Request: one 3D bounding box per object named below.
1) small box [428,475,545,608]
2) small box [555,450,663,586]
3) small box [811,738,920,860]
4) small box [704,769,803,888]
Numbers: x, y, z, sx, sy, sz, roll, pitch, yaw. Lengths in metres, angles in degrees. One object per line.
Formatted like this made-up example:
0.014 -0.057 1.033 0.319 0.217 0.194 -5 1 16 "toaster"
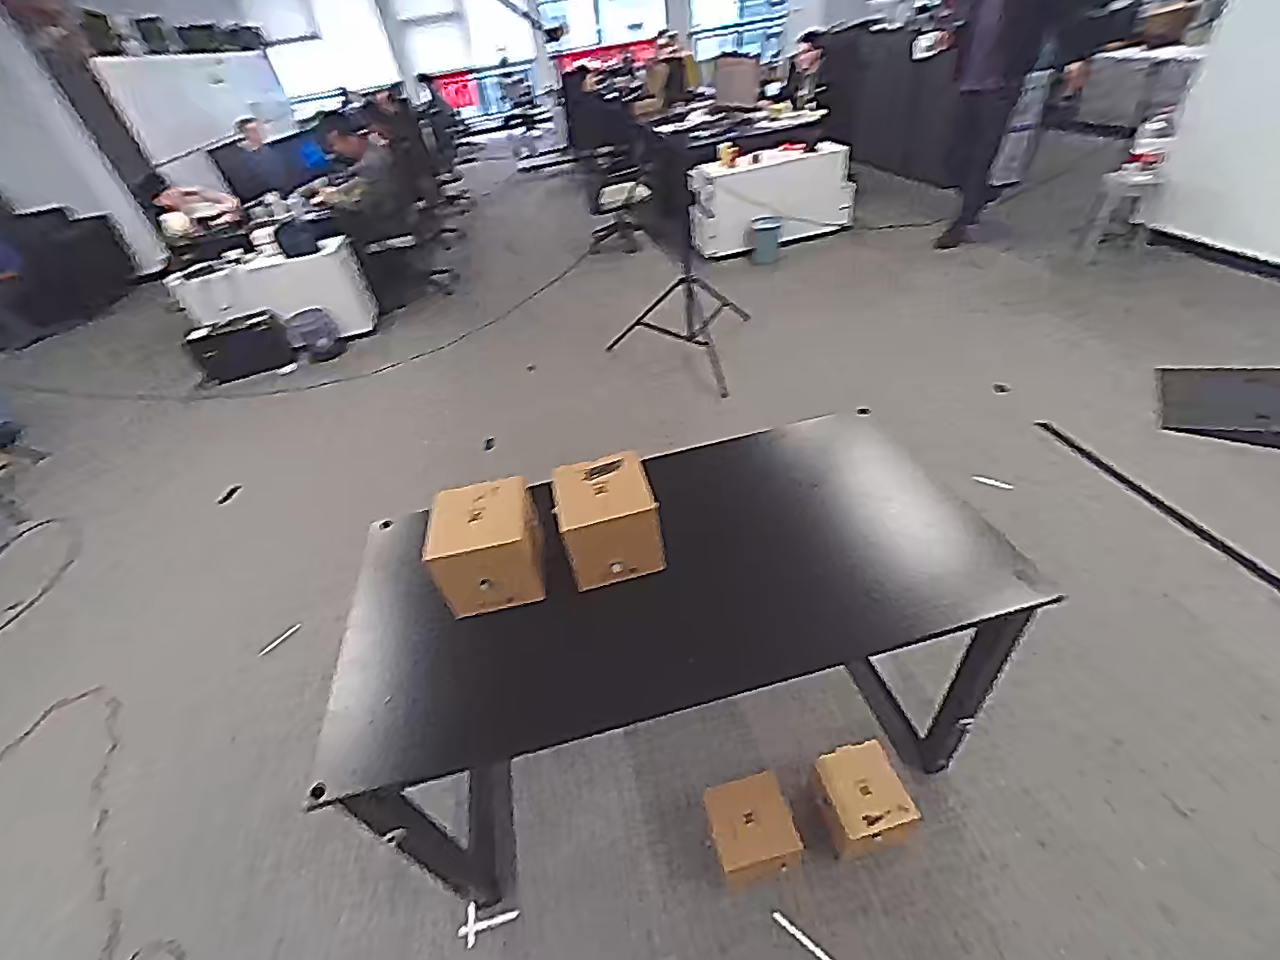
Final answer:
-0.277 0.121 1.017 0.168 0.176 0.179 -11 40 -3 "small box"
-0.058 0.072 1.030 0.168 0.176 0.179 -14 41 -5 "small box"
0.511 0.743 1.259 0.168 0.176 0.179 -15 40 -5 "small box"
0.256 0.804 1.245 0.179 0.176 0.168 -15 40 -4 "small box"
